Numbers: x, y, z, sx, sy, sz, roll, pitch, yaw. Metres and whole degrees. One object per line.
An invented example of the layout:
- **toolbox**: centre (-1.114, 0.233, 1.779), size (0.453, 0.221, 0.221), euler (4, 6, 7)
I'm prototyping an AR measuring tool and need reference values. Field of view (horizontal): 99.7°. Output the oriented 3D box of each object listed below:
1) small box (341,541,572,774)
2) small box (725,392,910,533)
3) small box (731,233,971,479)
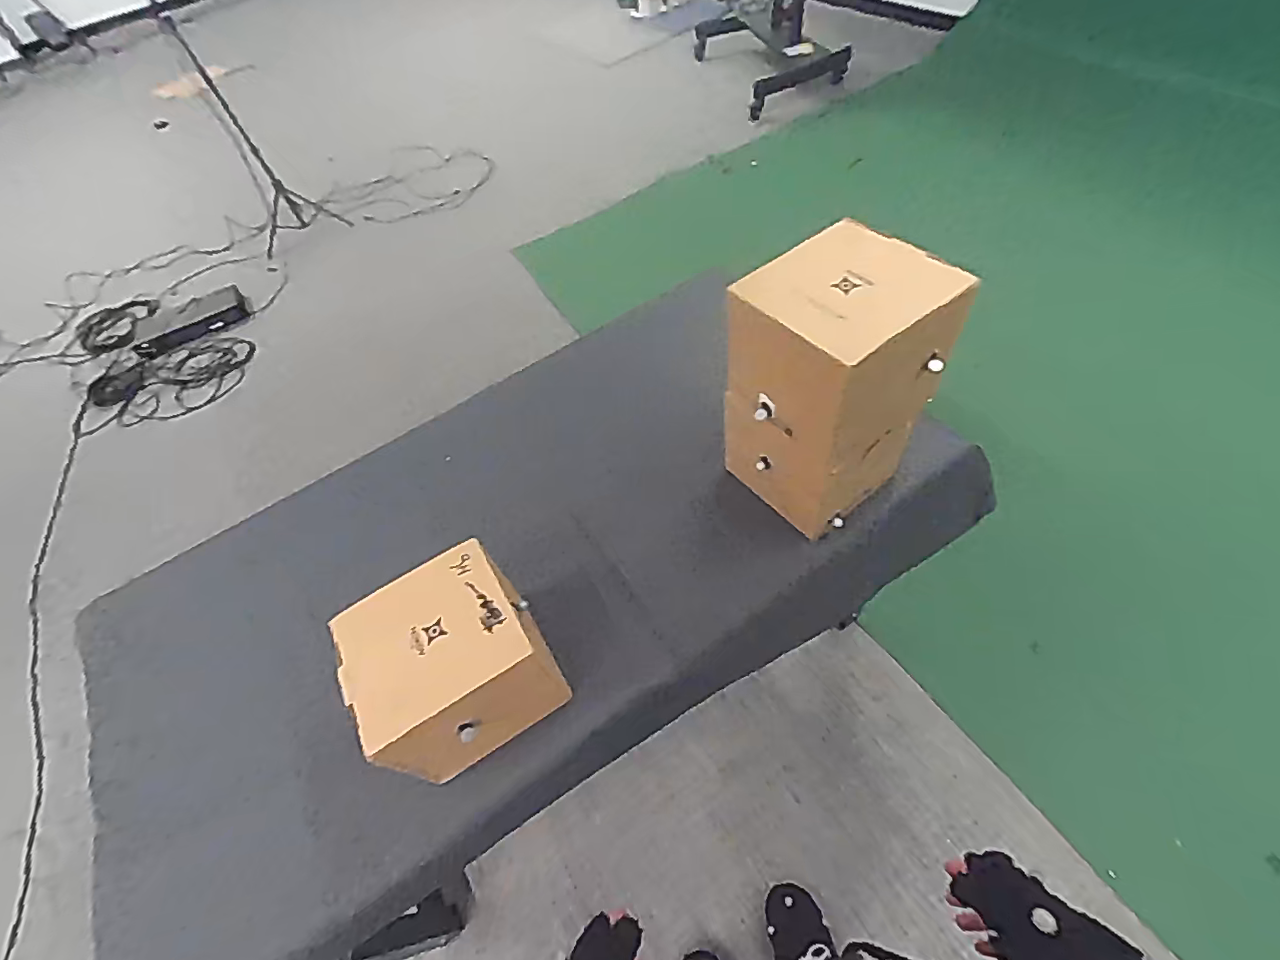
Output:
- **small box**: centre (-0.204, 0.211, 0.630), size (0.179, 0.176, 0.168), euler (-31, 55, -13)
- **small box**: centre (0.237, -0.050, 0.745), size (0.168, 0.176, 0.179), euler (-36, 56, -16)
- **small box**: centre (0.219, -0.137, 0.609), size (0.179, 0.176, 0.168), euler (-35, 55, -13)
